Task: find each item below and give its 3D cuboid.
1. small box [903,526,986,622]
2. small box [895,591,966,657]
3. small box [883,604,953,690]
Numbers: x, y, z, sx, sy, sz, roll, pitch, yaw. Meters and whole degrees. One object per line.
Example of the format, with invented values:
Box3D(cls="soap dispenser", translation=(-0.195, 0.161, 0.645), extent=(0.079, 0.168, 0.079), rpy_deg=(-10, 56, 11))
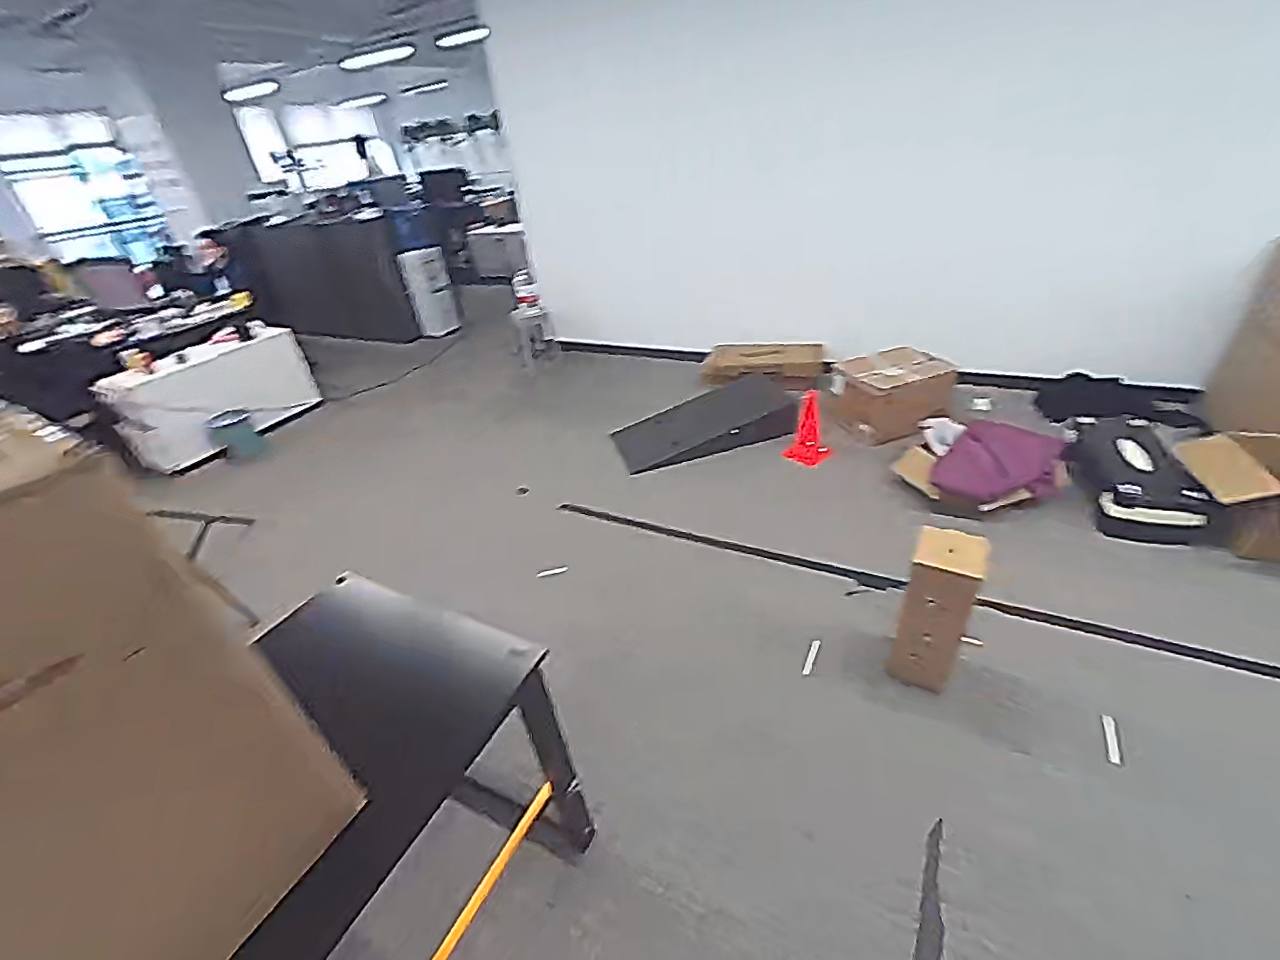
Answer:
Box3D(cls="small box", translation=(0.847, 0.261, 1.509), extent=(0.168, 0.176, 0.179), rpy_deg=(13, 39, 29))
Box3D(cls="small box", translation=(0.870, 0.388, 1.608), extent=(0.168, 0.176, 0.179), rpy_deg=(14, 39, 29))
Box3D(cls="small box", translation=(0.879, 0.526, 1.698), extent=(0.179, 0.176, 0.168), rpy_deg=(15, 39, 29))
